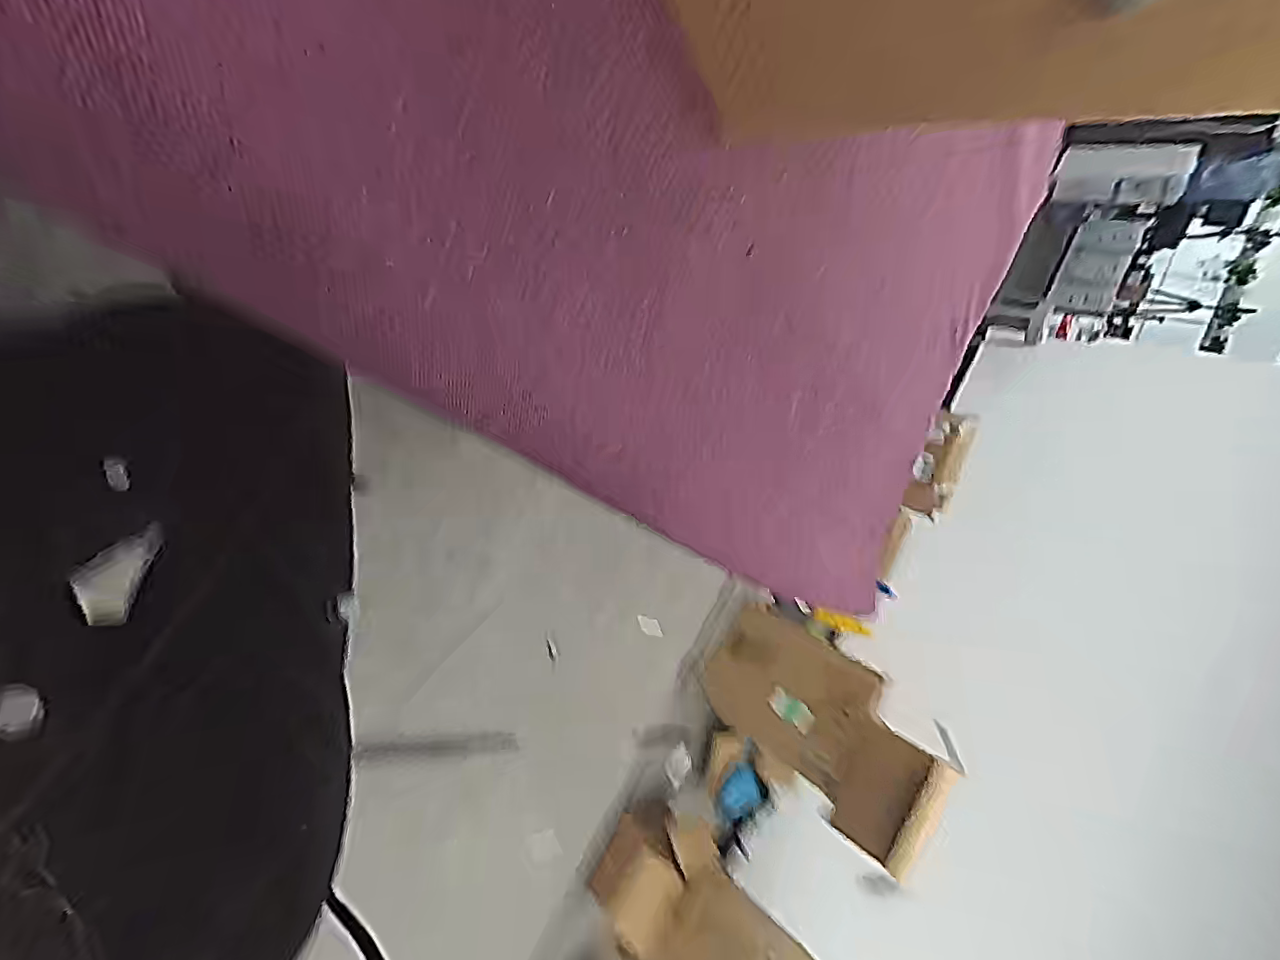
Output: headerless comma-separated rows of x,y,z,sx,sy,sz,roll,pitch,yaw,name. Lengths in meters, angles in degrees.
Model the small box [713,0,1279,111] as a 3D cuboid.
0.103,-0.217,0.113,0.179,0.176,0.168,36,80,-55,small box
